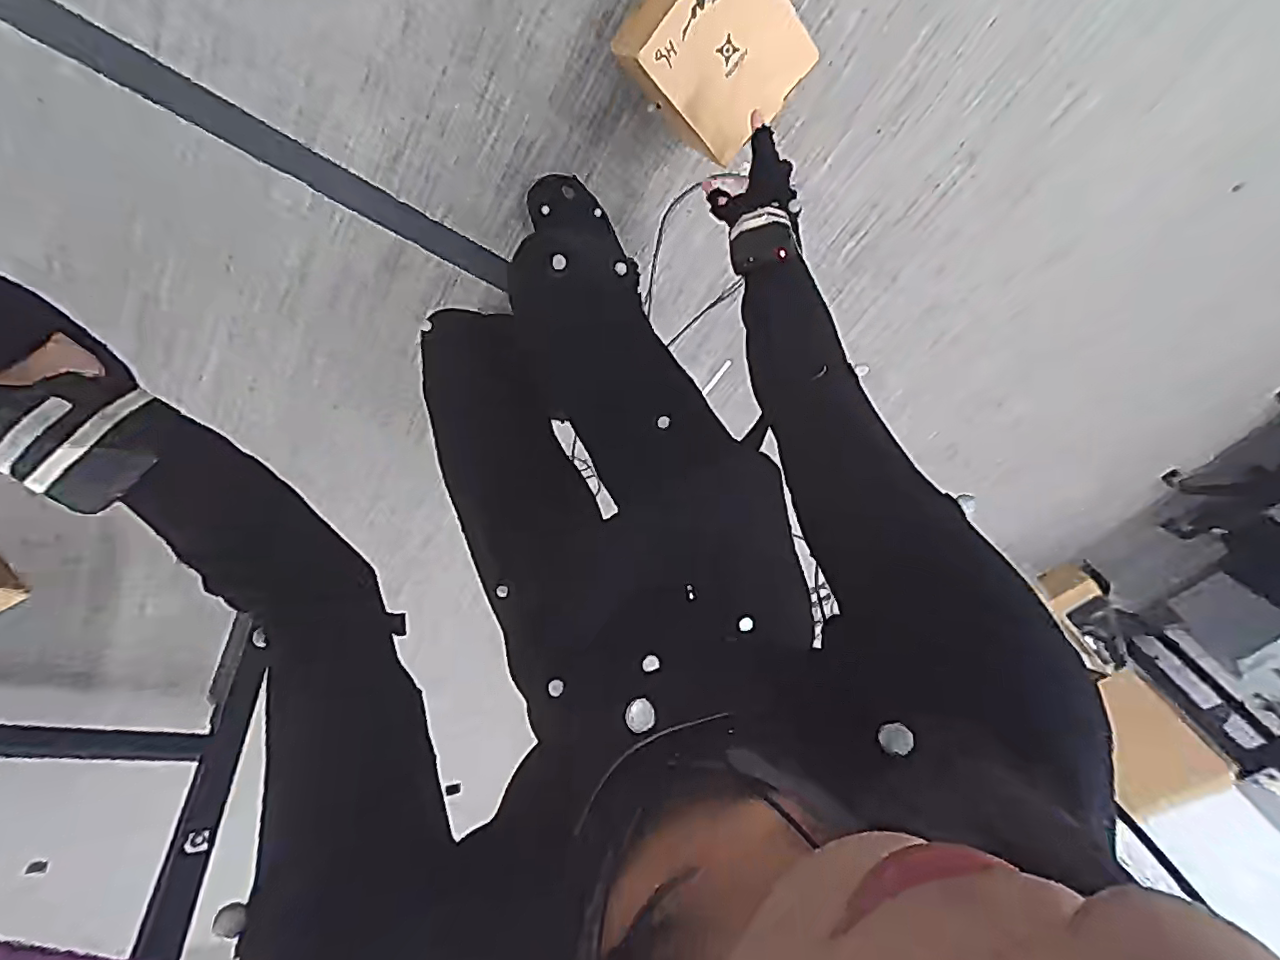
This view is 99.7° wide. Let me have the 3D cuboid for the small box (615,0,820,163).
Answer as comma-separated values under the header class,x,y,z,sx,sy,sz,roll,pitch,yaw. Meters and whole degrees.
class,x,y,z,sx,sy,sz,roll,pitch,yaw
small box,0.092,-0.561,0.701,0.179,0.176,0.168,30,117,-36
